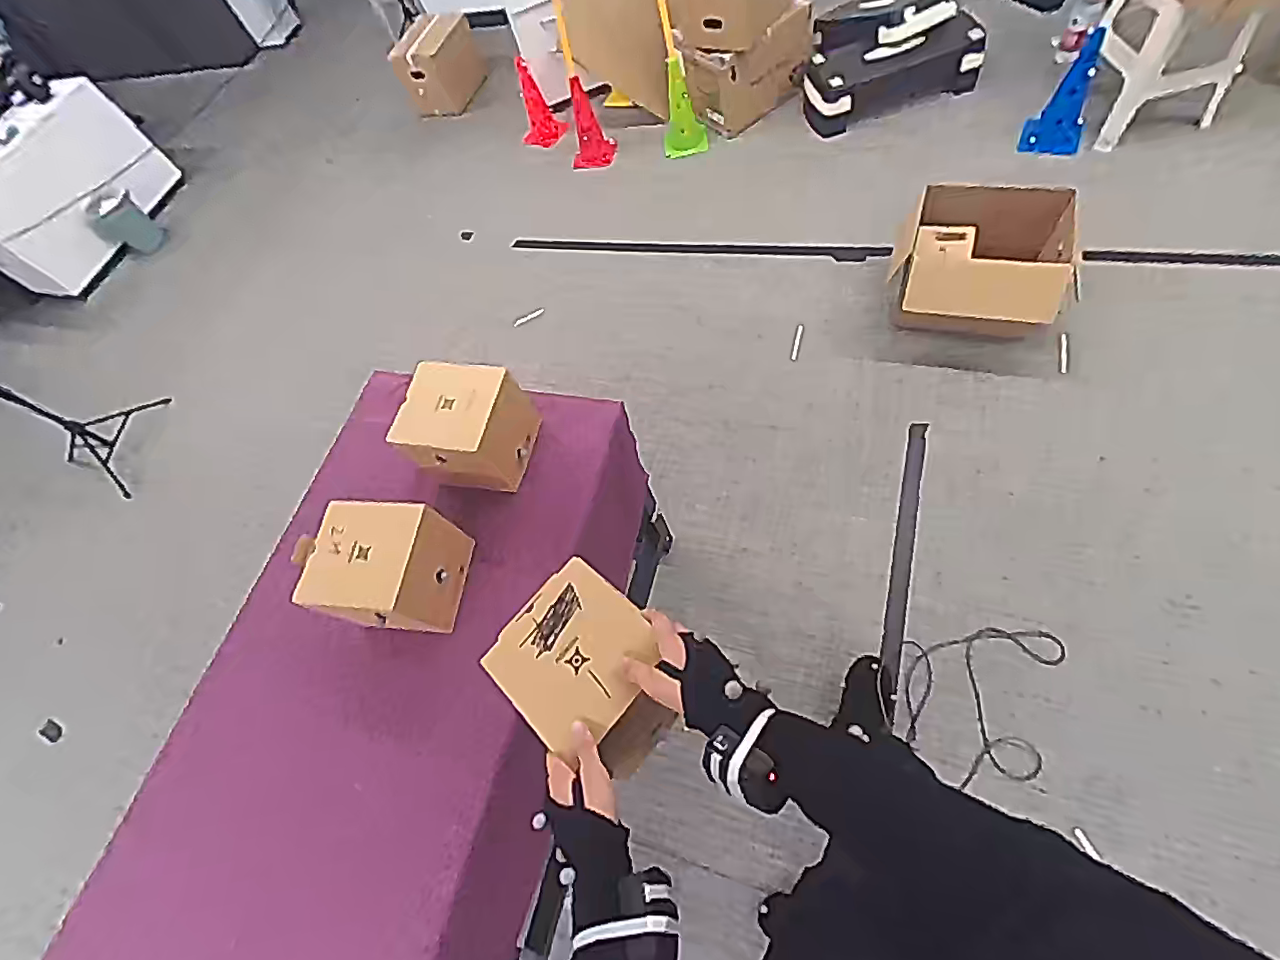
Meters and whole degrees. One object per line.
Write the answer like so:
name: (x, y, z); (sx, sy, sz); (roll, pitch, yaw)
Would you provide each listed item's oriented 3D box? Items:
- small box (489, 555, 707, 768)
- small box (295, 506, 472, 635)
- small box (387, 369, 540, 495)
small box: (-0.043, 0.229, 0.667); (0.179, 0.176, 0.168); (36, 79, 33)
small box: (-0.404, 0.153, 0.887); (0.179, 0.176, 0.168); (1, 64, 14)
small box: (-0.310, -0.084, 0.984); (0.179, 0.176, 0.168); (6, 66, 17)
